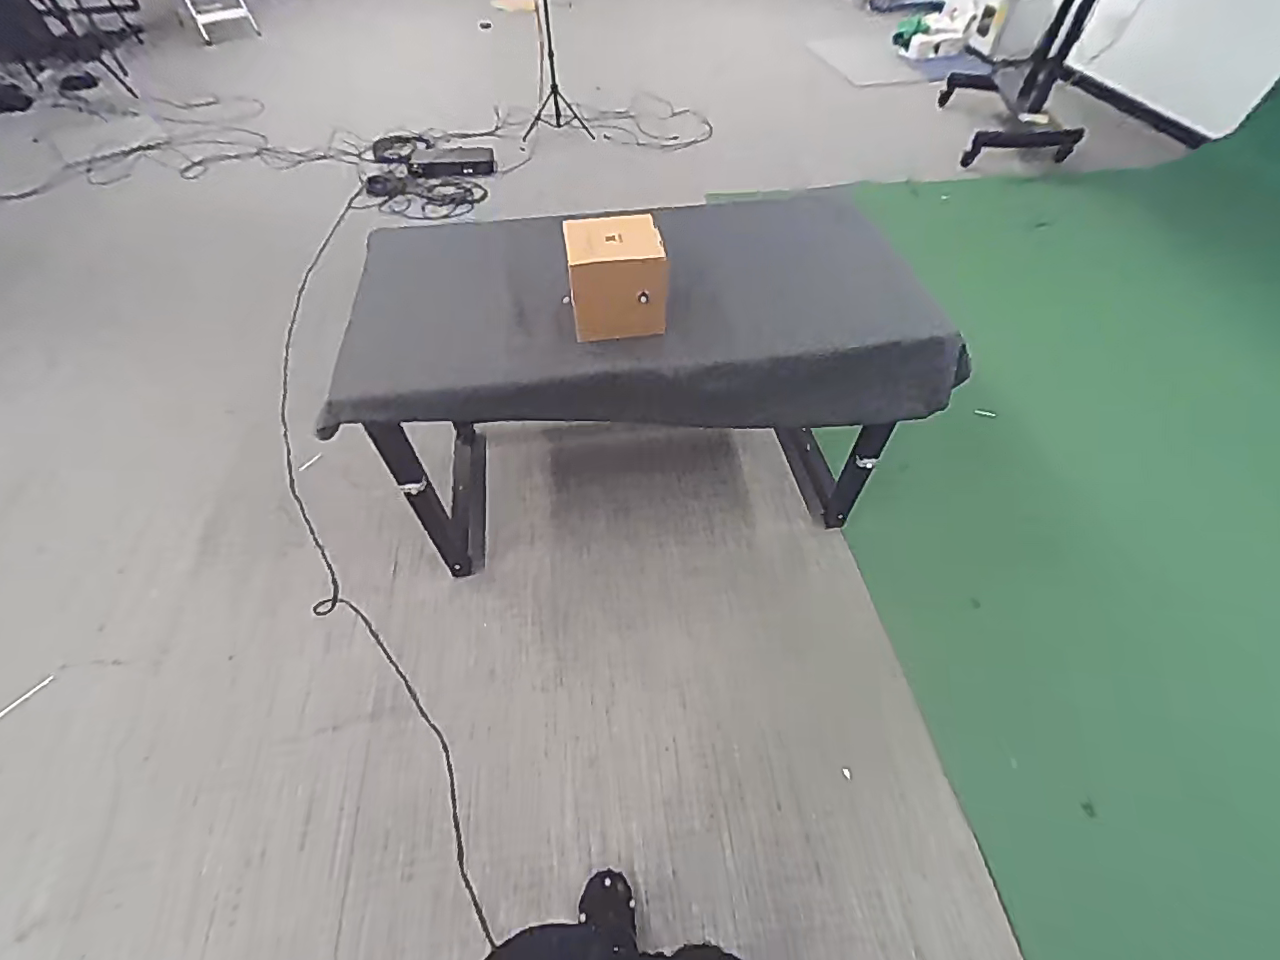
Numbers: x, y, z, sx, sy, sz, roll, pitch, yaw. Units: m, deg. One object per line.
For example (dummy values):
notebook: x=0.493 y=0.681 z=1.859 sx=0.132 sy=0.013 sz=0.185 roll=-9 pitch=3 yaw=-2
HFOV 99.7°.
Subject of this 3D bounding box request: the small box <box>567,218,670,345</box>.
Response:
small box: x=-0.043 y=-0.389 z=1.066 sx=0.179 sy=0.176 sz=0.168 roll=-8 pitch=51 yaw=-4
